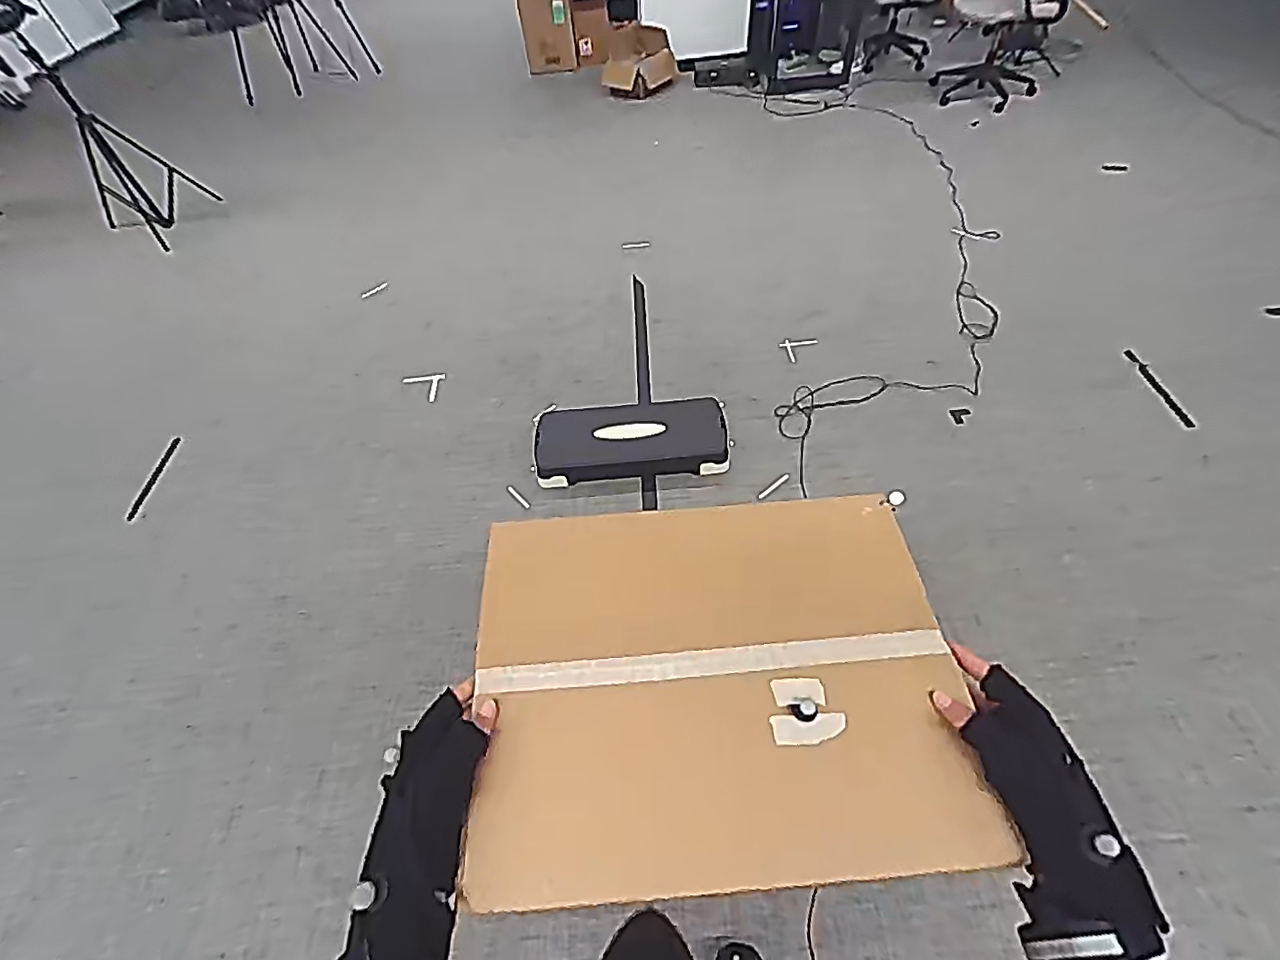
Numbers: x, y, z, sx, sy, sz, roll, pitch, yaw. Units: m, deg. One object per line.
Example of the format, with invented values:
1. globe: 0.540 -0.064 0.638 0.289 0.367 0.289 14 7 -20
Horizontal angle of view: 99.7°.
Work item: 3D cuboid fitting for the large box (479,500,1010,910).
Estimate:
1. large box: 0.068 0.248 0.598 0.408 0.320 0.320 -4 56 -2
